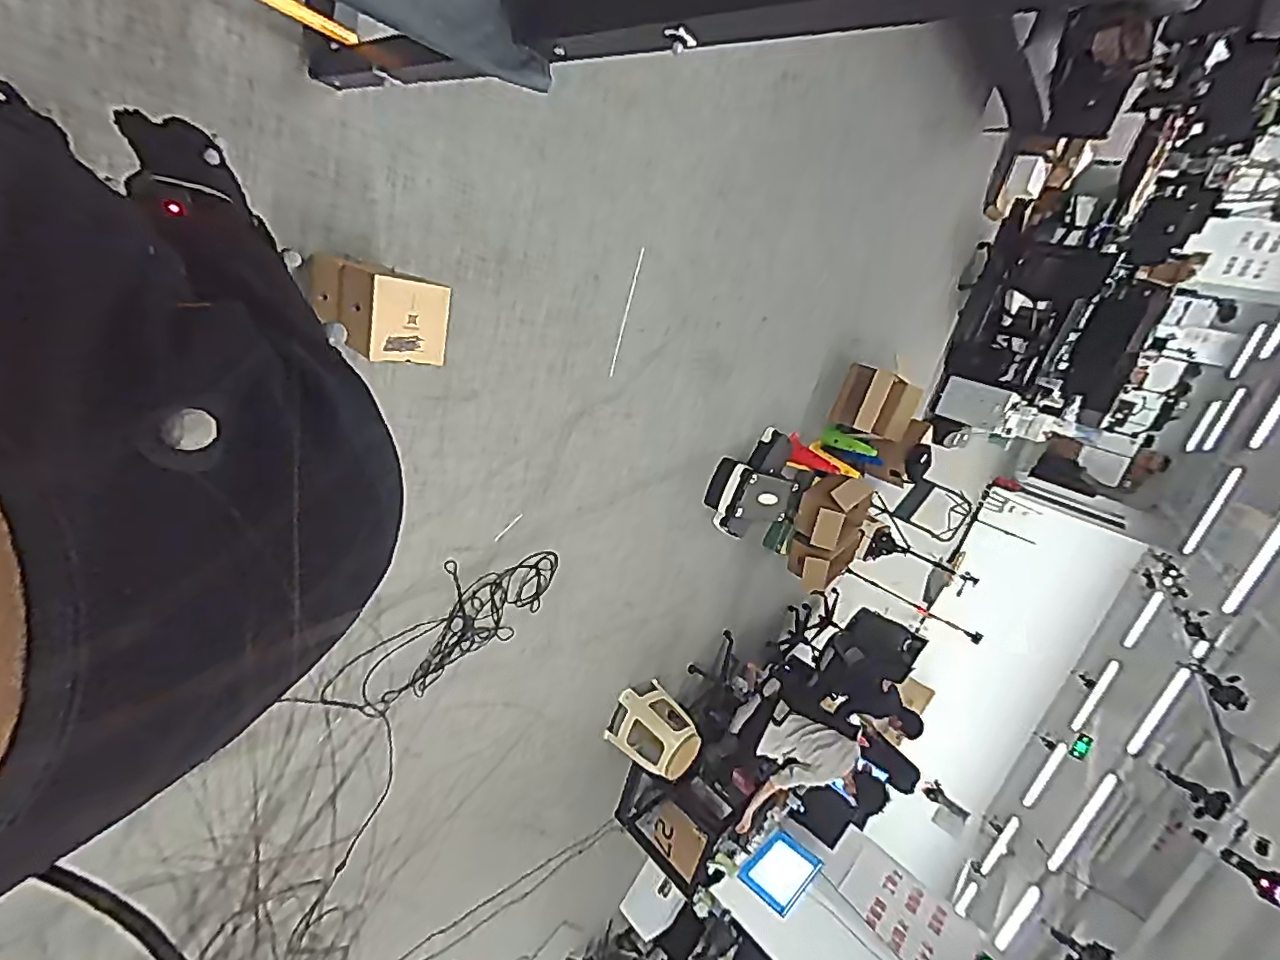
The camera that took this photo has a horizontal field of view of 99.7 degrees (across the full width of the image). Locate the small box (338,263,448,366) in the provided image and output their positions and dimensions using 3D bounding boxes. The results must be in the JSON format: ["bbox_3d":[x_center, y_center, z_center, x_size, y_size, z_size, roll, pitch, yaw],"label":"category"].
[{"bbox_3d":[-0.551,-0.364,1.198,0.168,0.176,0.179,-7,117,-47],"label":"small box"}]
